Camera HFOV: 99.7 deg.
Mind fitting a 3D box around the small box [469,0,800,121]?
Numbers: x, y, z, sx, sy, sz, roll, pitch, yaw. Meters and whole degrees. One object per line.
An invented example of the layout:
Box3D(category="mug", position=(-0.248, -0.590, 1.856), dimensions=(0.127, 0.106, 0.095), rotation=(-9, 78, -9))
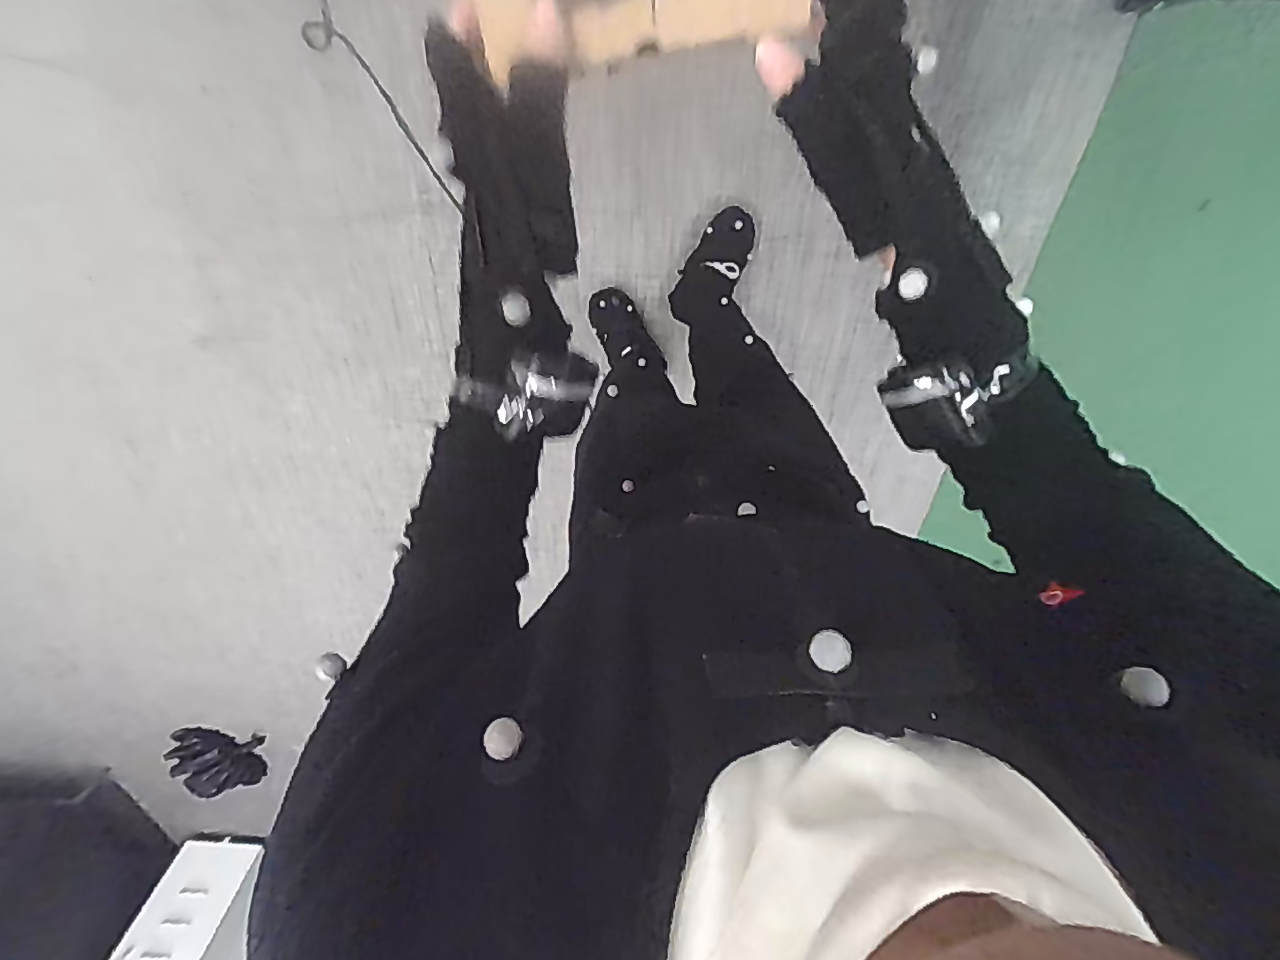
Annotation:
Box3D(category="small box", position=(-0.008, -0.322, 0.297), dimensions=(0.168, 0.176, 0.179), rotation=(-6, 130, 4))
